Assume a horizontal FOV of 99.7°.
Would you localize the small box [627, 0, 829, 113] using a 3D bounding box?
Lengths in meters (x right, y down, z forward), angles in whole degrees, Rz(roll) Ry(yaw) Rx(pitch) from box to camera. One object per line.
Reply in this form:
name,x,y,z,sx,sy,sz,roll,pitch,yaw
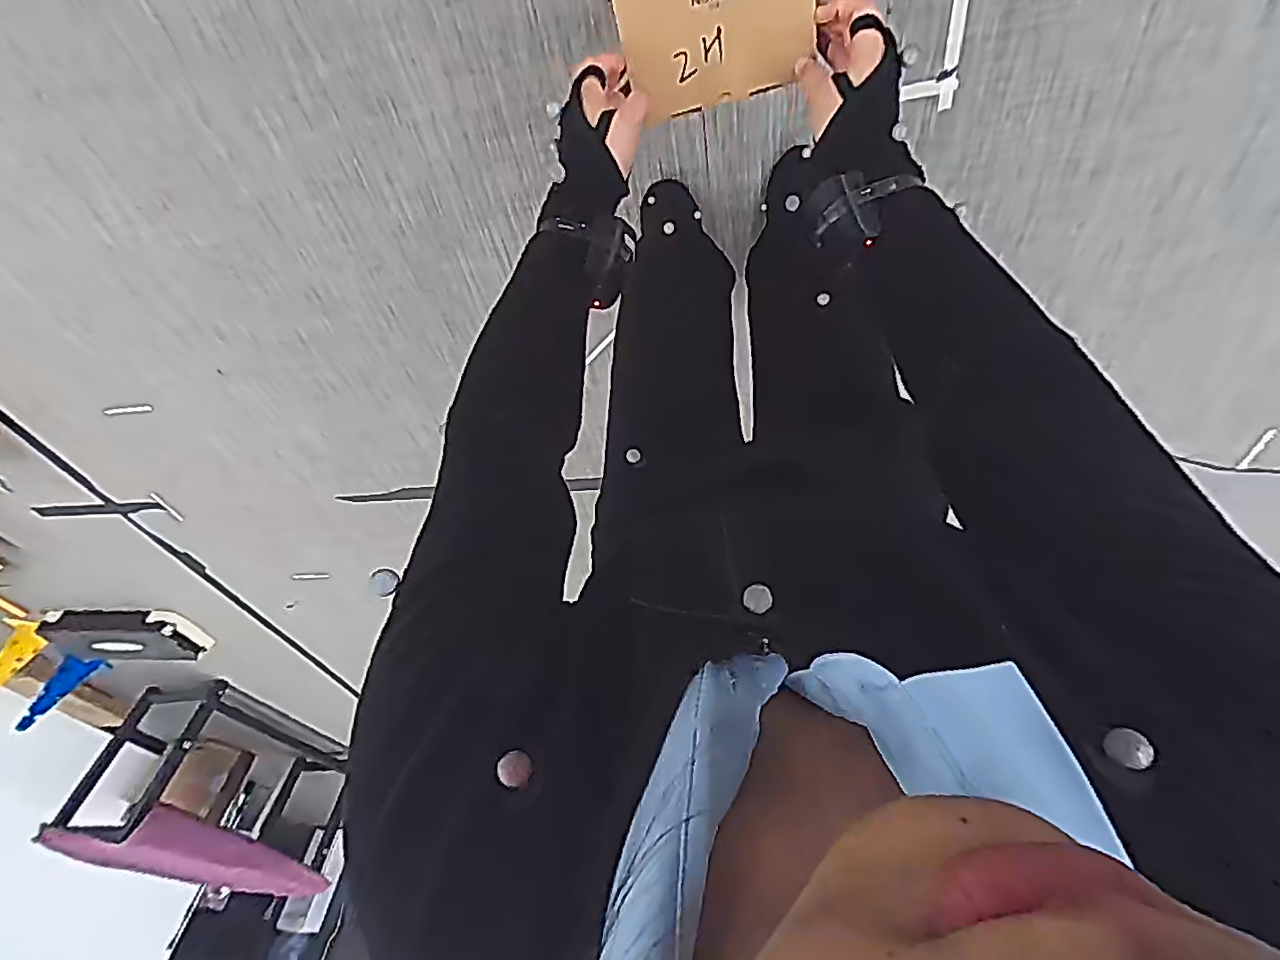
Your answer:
small box,0.071,-0.469,0.488,0.168,0.176,0.179,-7,135,13
